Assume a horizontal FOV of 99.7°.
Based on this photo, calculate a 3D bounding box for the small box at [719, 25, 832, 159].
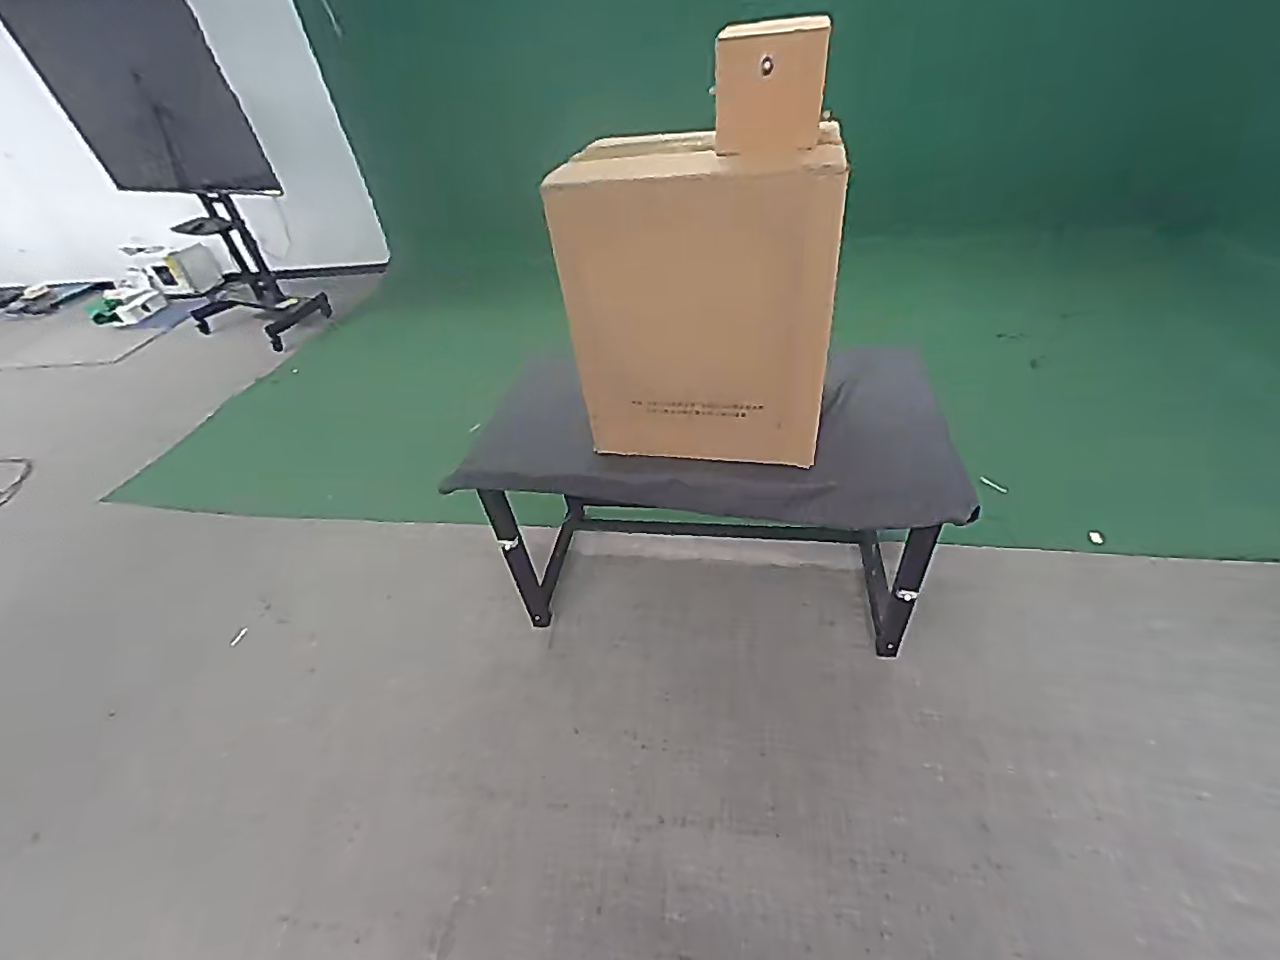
[{"bbox_3d":[0.234,-0.681,0.956,0.179,0.176,0.168,5,45,12],"label":"small box"}]
